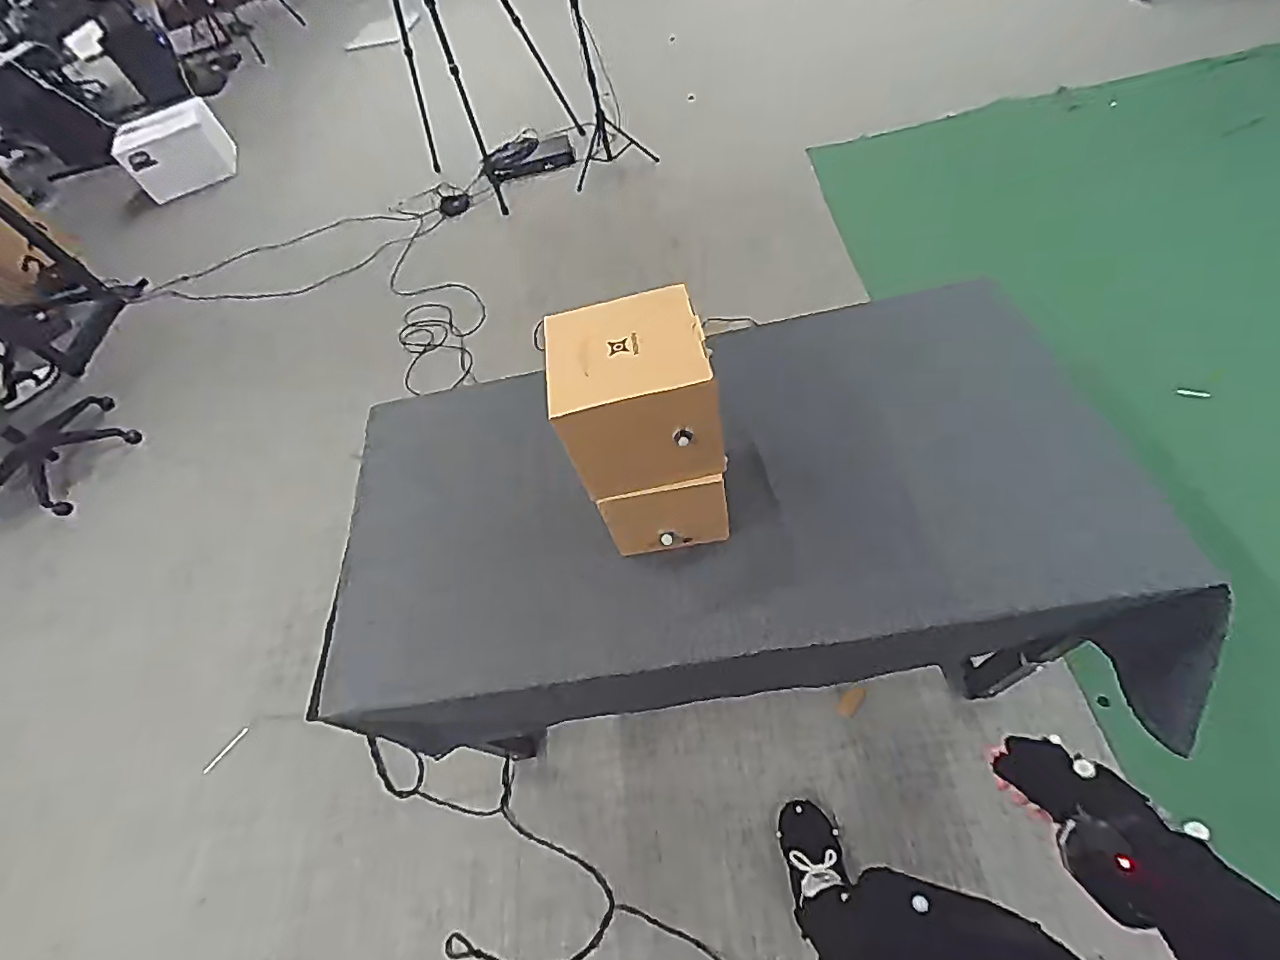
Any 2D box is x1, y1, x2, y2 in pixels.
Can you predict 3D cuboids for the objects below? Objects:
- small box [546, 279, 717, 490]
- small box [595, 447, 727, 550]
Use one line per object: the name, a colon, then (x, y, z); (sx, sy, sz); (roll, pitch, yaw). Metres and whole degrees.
small box: (-0.005, -0.109, 0.660); (0.179, 0.176, 0.168); (-12, 55, 5)
small box: (0.030, -0.019, 0.792); (0.168, 0.176, 0.179); (-10, 56, 7)
